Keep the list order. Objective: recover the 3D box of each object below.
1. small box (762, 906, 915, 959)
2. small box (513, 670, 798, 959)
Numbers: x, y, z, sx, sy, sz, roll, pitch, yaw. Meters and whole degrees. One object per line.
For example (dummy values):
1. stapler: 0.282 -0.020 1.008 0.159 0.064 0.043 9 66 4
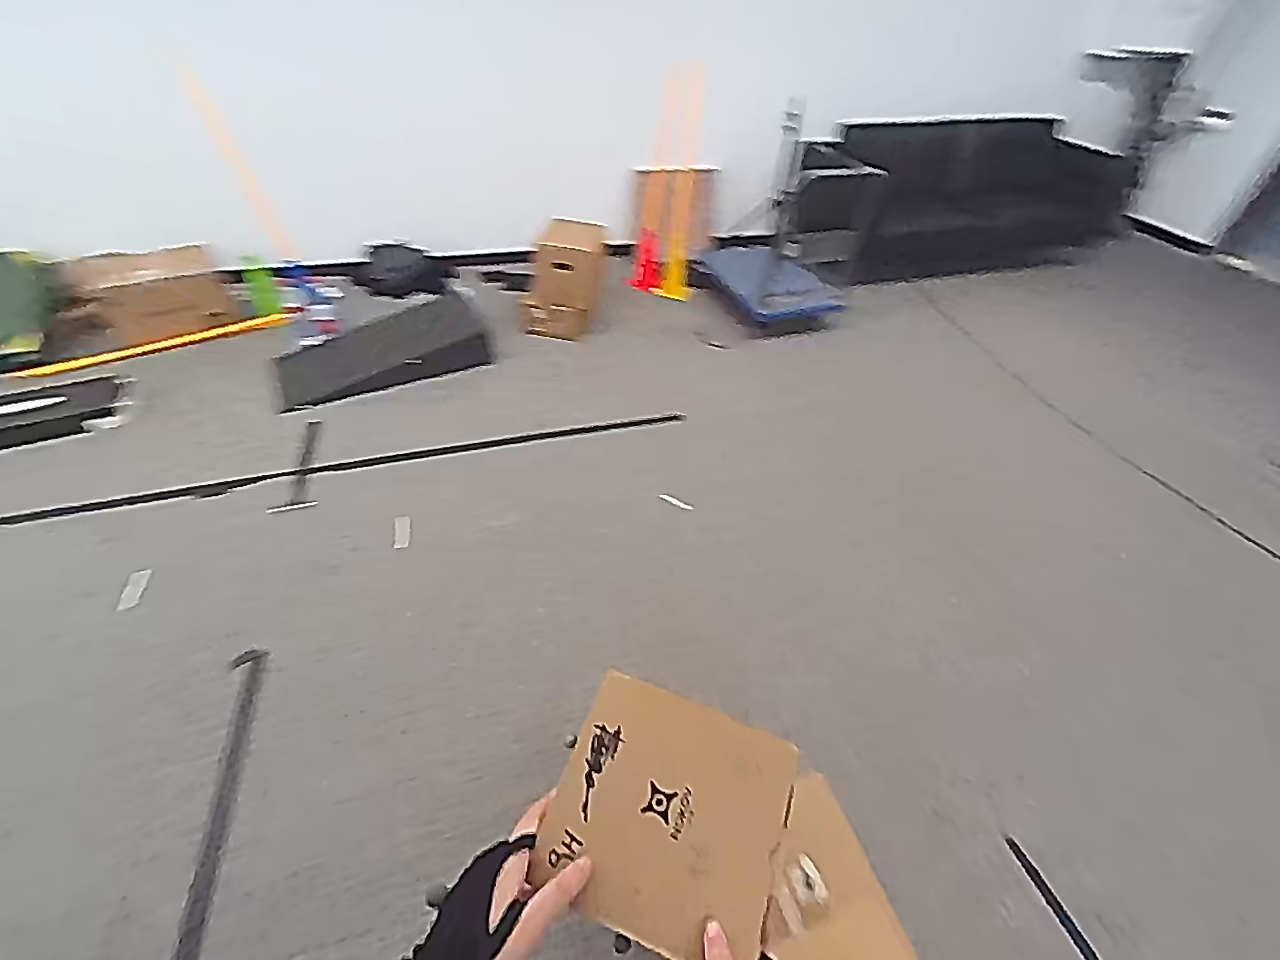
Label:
1. small box: 0.256 0.663 0.656 0.168 0.176 0.179 -11 44 -14
2. small box: 0.016 0.297 0.473 0.179 0.176 0.168 18 53 11
